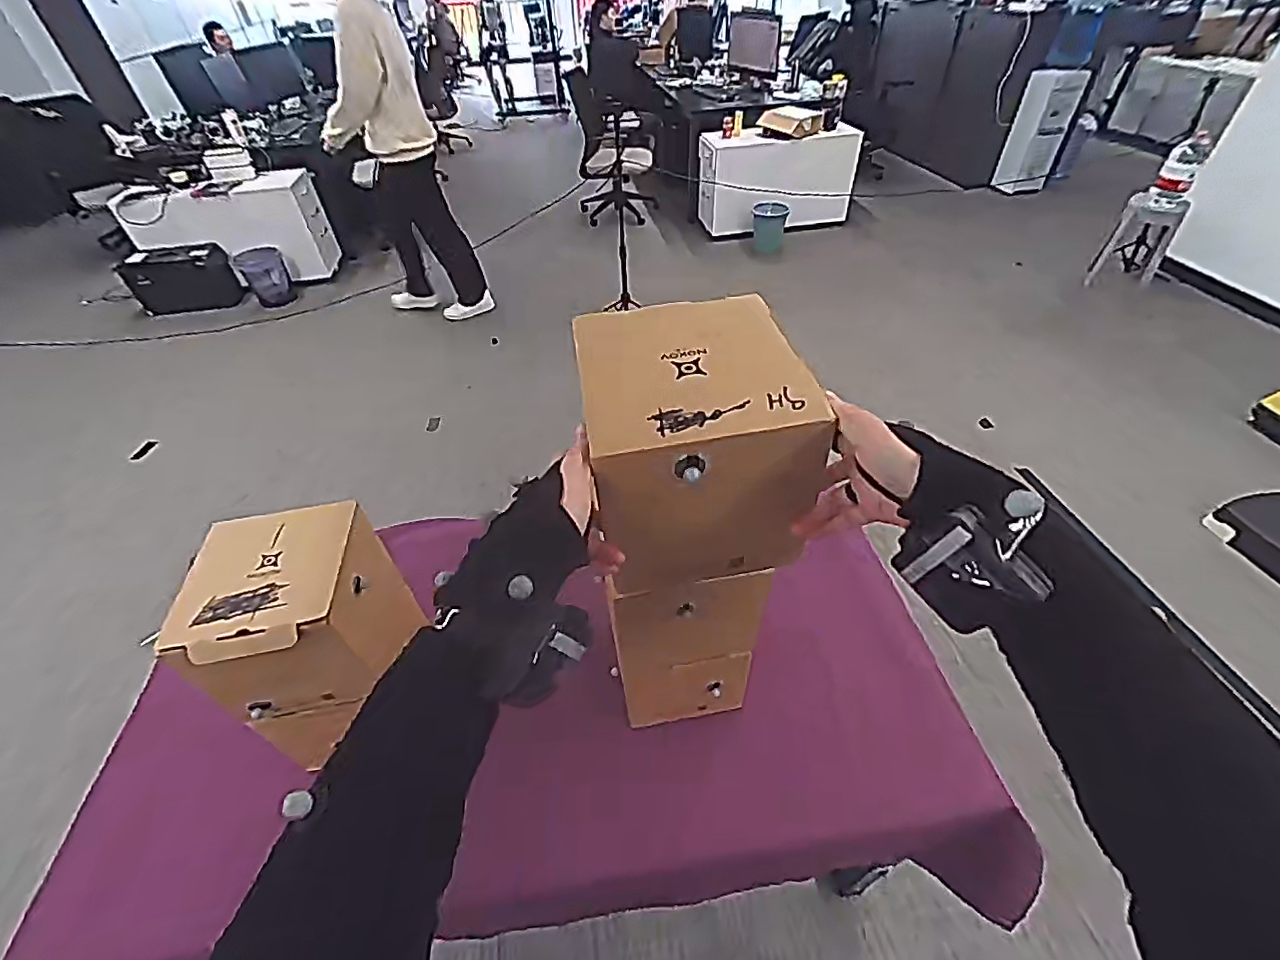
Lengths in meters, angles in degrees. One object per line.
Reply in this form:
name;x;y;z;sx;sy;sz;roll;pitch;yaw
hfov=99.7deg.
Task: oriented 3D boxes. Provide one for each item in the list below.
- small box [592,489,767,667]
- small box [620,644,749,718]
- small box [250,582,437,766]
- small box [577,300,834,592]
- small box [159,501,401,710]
small box;0.044;0.111;0.667;0.179;0.176;0.168;-8;45;-6
small box;0.050;0.226;0.784;0.168;0.176;0.179;-8;44;-5
small box;-0.396;0.273;0.764;0.168;0.176;0.179;-9;45;-6
small box;0.041;-0.030;0.466;0.168;0.176;0.179;-9;46;-3
small box;-0.404;0.155;0.649;0.168;0.176;0.179;-9;45;-7
